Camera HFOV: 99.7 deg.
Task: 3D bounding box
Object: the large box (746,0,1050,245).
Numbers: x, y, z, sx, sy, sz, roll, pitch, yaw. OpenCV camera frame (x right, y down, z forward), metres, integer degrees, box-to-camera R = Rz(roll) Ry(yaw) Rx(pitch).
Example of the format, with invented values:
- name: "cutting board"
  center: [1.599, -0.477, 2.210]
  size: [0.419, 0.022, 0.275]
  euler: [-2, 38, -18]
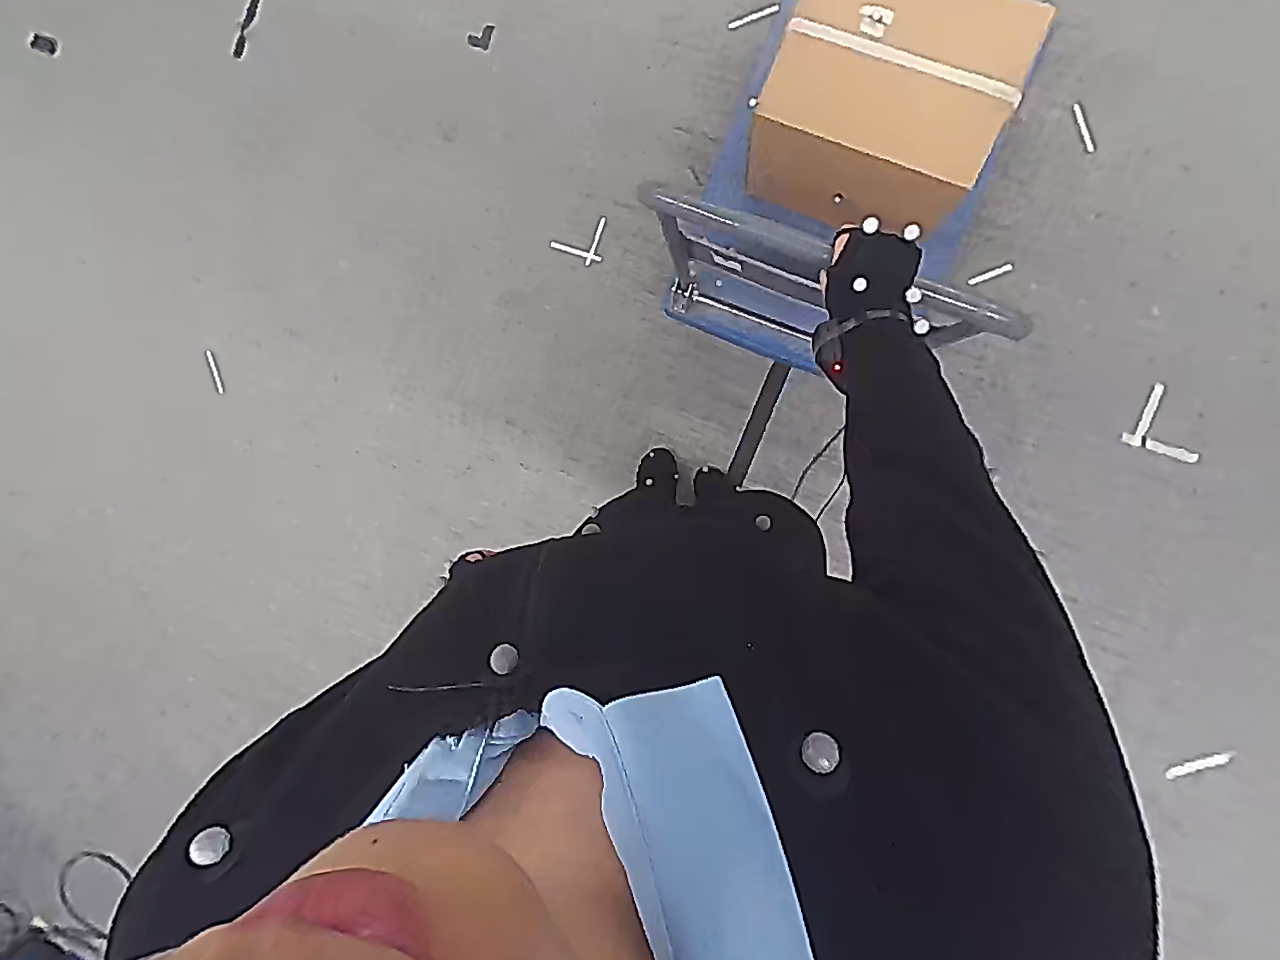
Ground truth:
- name: "large box"
  center: [0.457, -0.722, 1.063]
  size: [0.408, 0.320, 0.320]
  euler: [24, 95, 8]
